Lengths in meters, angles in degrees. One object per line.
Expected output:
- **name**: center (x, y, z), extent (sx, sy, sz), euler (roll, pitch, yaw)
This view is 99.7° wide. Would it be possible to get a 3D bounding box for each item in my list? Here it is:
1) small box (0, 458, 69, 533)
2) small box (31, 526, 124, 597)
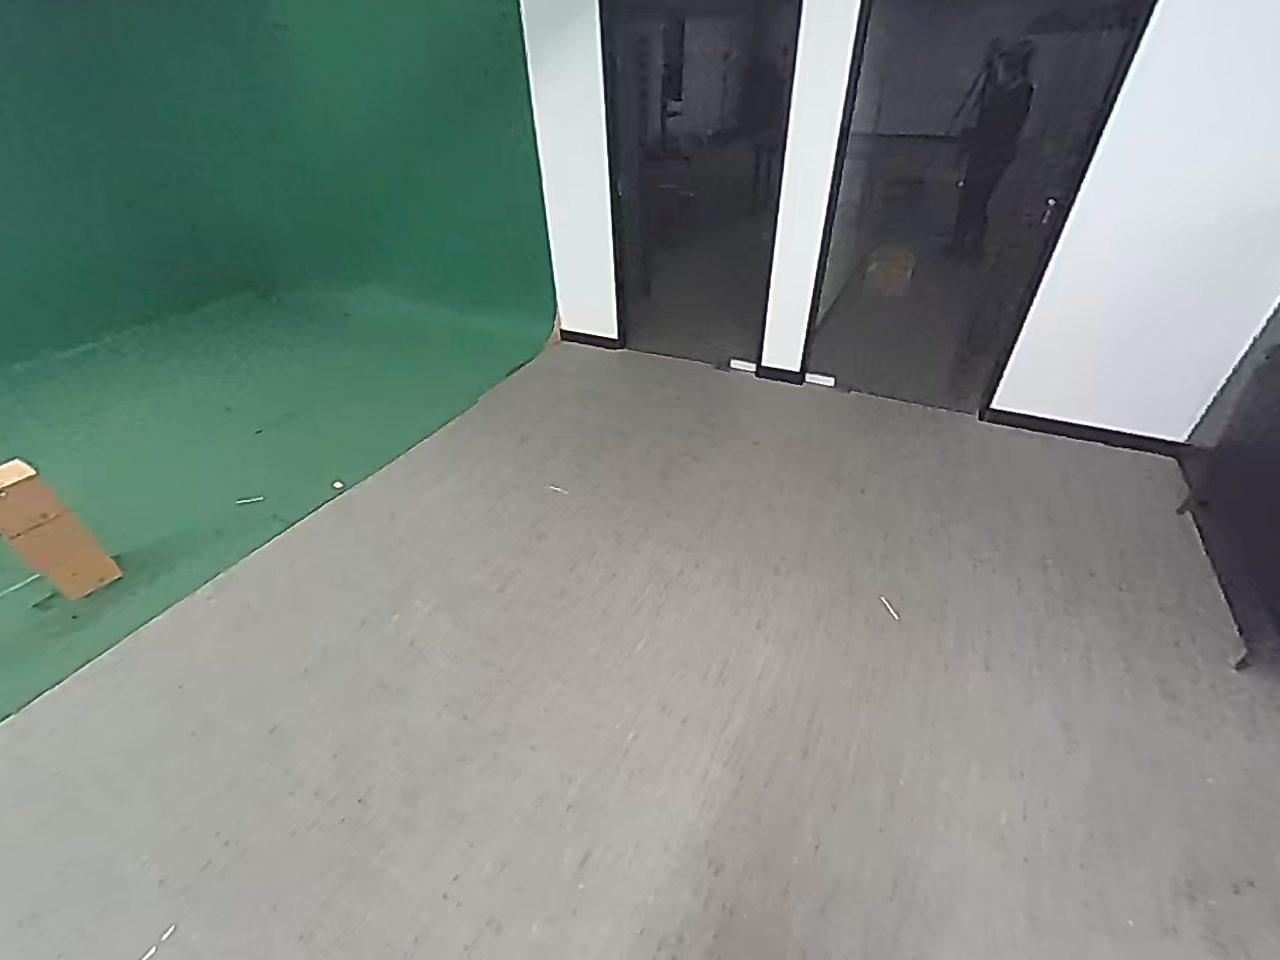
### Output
- **small box**: center (-2.100, 0.054, 1.818), extent (0.179, 0.176, 0.168), euler (19, 41, 25)
- **small box**: center (-2.101, 0.309, 2.026), extent (0.179, 0.176, 0.168), euler (22, 43, 28)
